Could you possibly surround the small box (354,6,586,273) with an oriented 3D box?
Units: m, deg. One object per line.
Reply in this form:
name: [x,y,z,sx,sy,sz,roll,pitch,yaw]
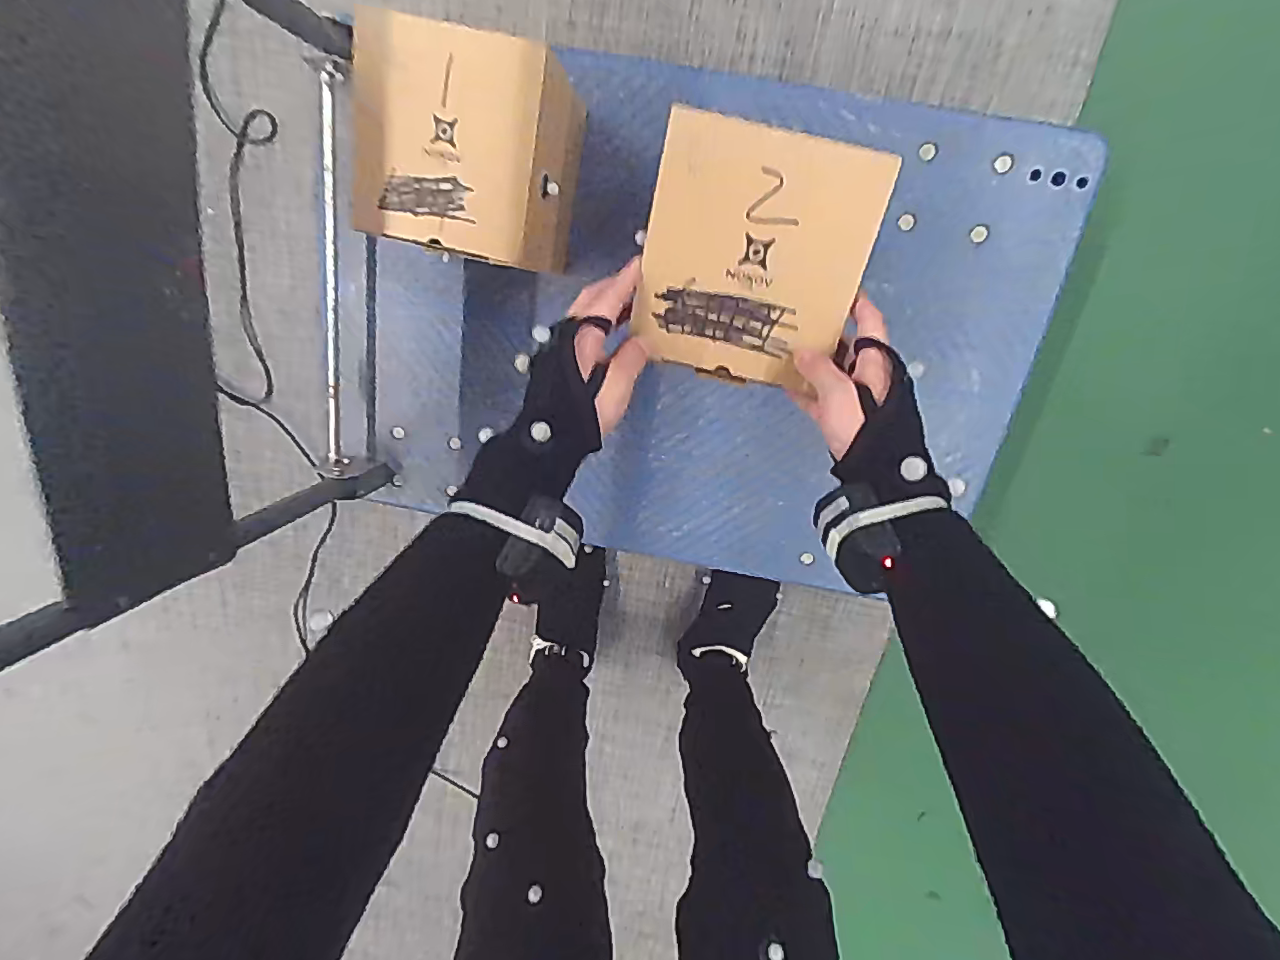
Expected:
small box: [-0.159,-0.316,0.545,0.168,0.176,0.179,13,108,1]
